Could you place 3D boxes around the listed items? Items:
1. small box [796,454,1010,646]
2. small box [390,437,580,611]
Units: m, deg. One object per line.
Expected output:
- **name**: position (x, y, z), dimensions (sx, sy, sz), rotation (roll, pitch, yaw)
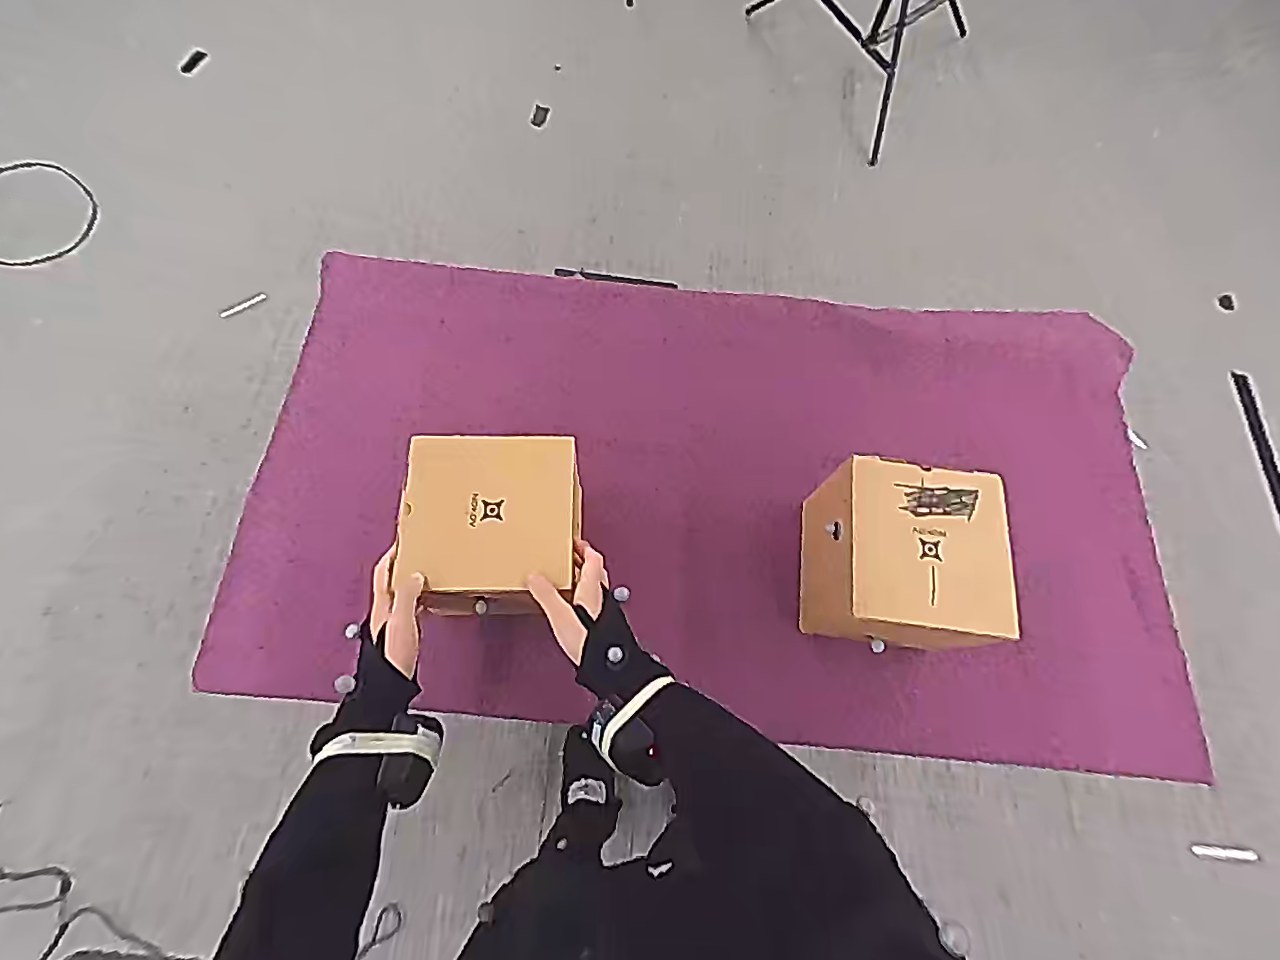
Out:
- **small box**: position (0.290, 0.090, 0.635), dimensions (0.168, 0.176, 0.179), rotation (8, 70, 1)
- **small box**: position (-0.161, 0.058, 0.627), dimensions (0.179, 0.176, 0.168), rotation (-1, 70, -3)
